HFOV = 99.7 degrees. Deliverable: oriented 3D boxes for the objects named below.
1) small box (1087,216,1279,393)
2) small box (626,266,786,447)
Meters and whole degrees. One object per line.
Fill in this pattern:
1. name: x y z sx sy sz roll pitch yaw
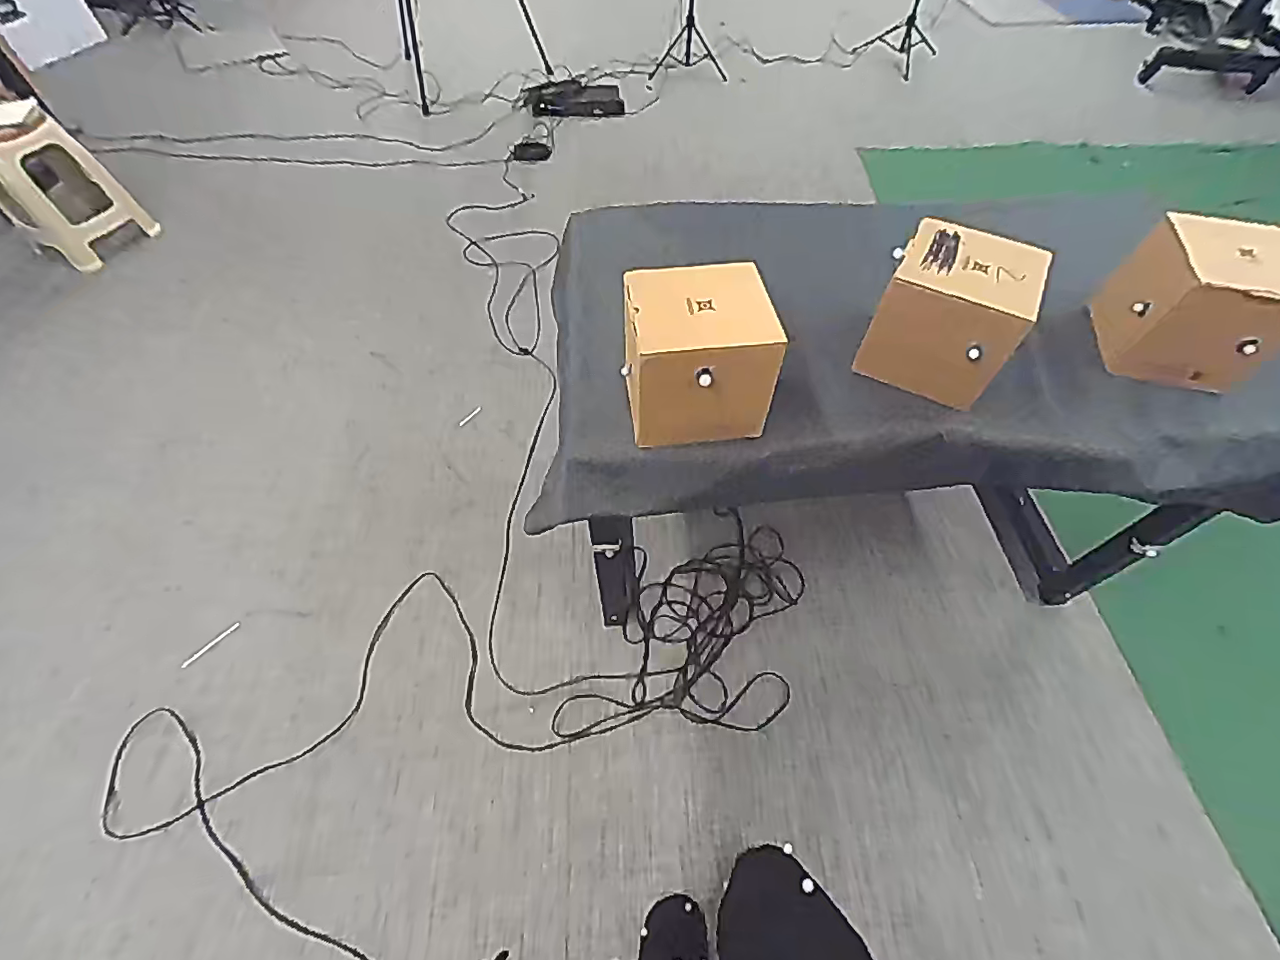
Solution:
1. small box: 0.813 -0.254 0.795 0.168 0.176 0.179 13 55 8
2. small box: 0.075 -0.162 0.727 0.179 0.176 0.168 -6 53 -3
